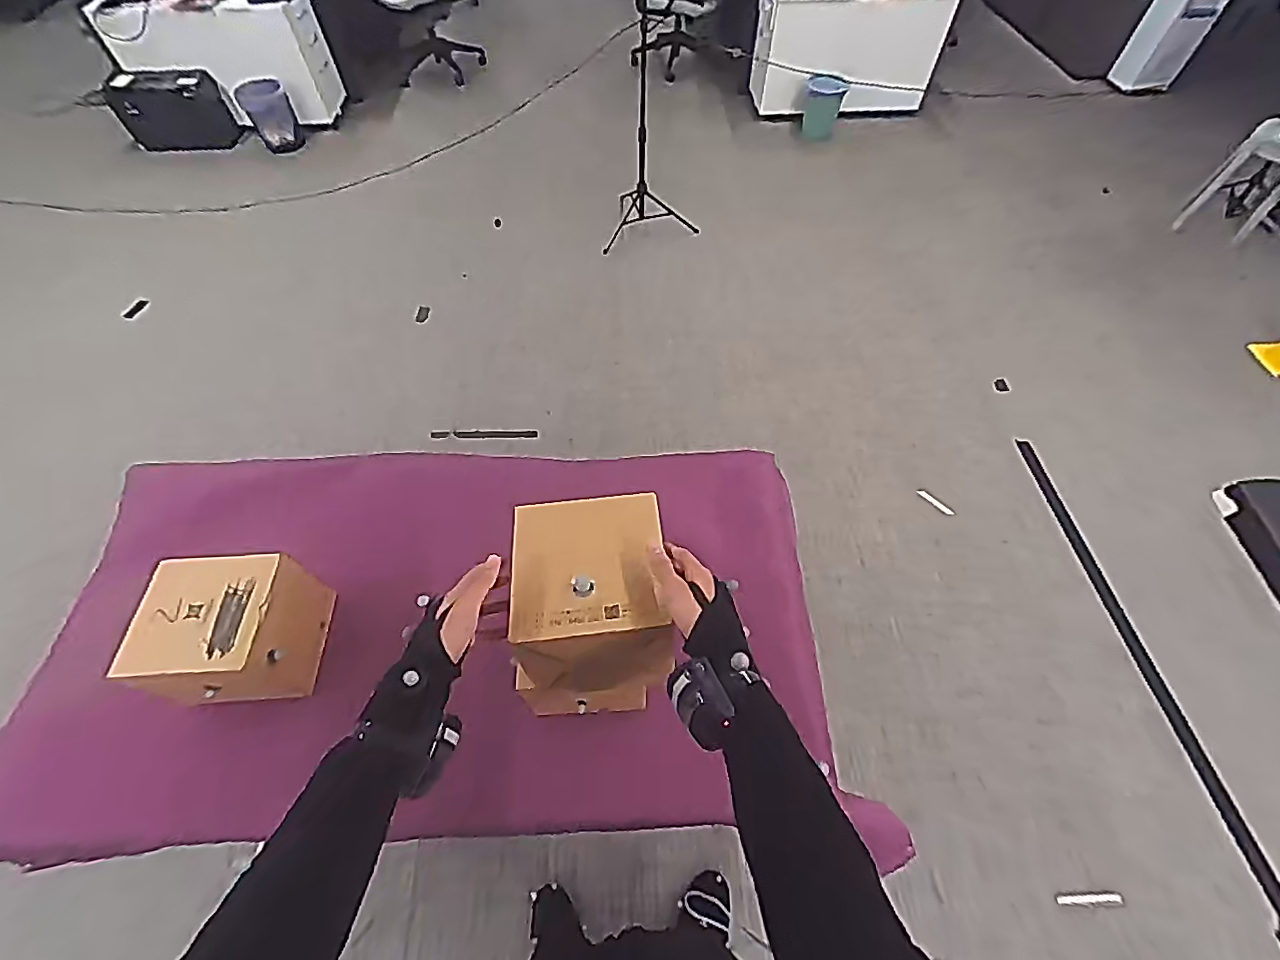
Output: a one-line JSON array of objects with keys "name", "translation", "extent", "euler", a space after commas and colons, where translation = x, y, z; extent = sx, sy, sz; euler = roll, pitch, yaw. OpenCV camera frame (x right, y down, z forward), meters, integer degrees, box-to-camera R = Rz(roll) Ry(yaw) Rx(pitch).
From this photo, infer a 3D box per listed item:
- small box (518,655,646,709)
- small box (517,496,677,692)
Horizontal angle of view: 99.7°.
[{"name": "small box", "translation": [-0.076, 0.234, 0.798], "extent": [0.168, 0.176, 0.179], "euler": [-1, 57, -1]}, {"name": "small box", "translation": [-0.049, 0.142, 0.647], "extent": [0.168, 0.179, 0.176], "euler": [-6, 53, -2]}]
